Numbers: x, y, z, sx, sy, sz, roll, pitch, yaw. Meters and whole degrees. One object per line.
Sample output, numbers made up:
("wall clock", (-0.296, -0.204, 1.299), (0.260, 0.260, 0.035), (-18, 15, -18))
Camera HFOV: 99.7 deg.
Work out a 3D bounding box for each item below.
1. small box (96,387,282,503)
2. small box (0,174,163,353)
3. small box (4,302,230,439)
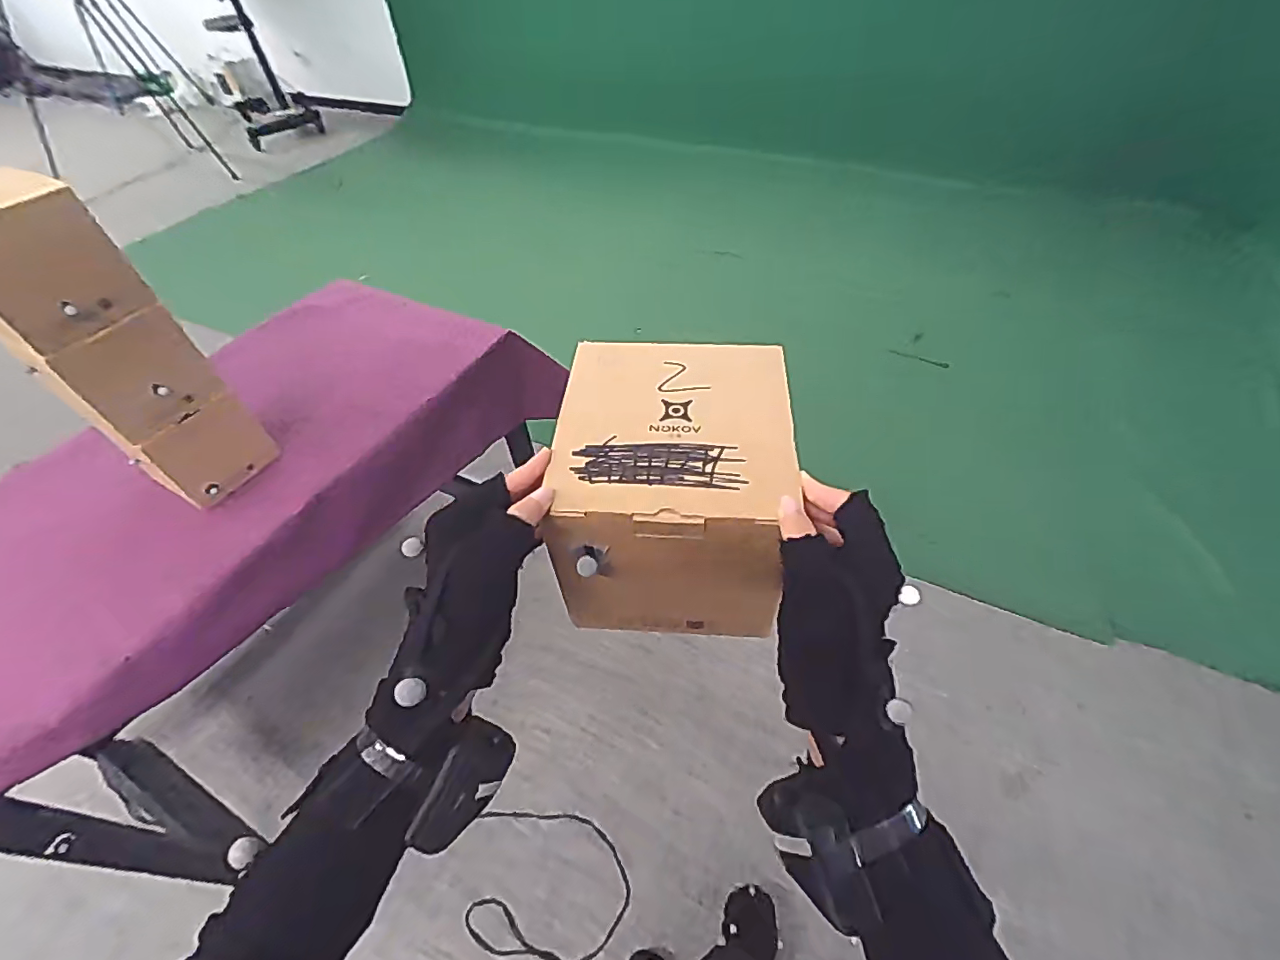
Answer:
("small box", (-0.817, -0.081, 0.998), (0.179, 0.176, 0.168), (22, 53, 22))
("small box", (-0.843, -0.301, 0.757), (0.179, 0.176, 0.168), (22, 54, 21))
("small box", (-0.832, -0.192, 0.877), (0.179, 0.176, 0.168), (22, 54, 21))
